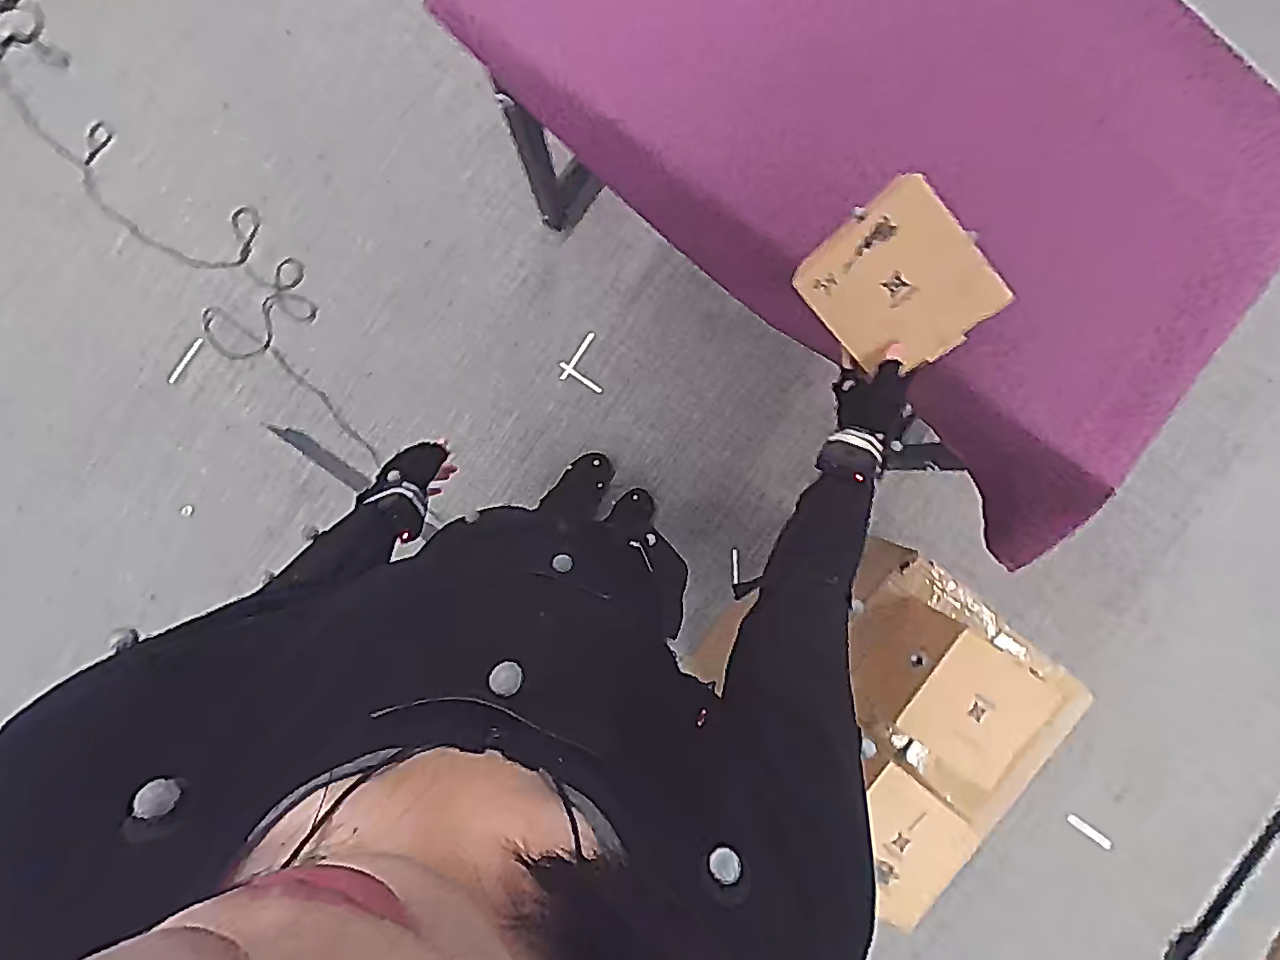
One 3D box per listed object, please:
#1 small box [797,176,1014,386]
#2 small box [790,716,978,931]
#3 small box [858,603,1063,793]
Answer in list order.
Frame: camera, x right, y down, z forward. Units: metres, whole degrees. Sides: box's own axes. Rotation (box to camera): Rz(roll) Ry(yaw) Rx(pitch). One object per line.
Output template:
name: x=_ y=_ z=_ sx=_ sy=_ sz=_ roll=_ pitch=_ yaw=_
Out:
small box: x=0.324 y=-0.256 z=0.687 sx=0.179 sy=0.176 sz=0.168 roll=46 pitch=121 yaw=-8
small box: x=0.350 y=0.503 z=0.821 sx=0.168 sy=0.176 sz=0.179 roll=40 pitch=89 yaw=0
small box: x=0.466 y=0.313 z=0.820 sx=0.168 sy=0.176 sz=0.179 roll=36 pitch=92 yaw=0
